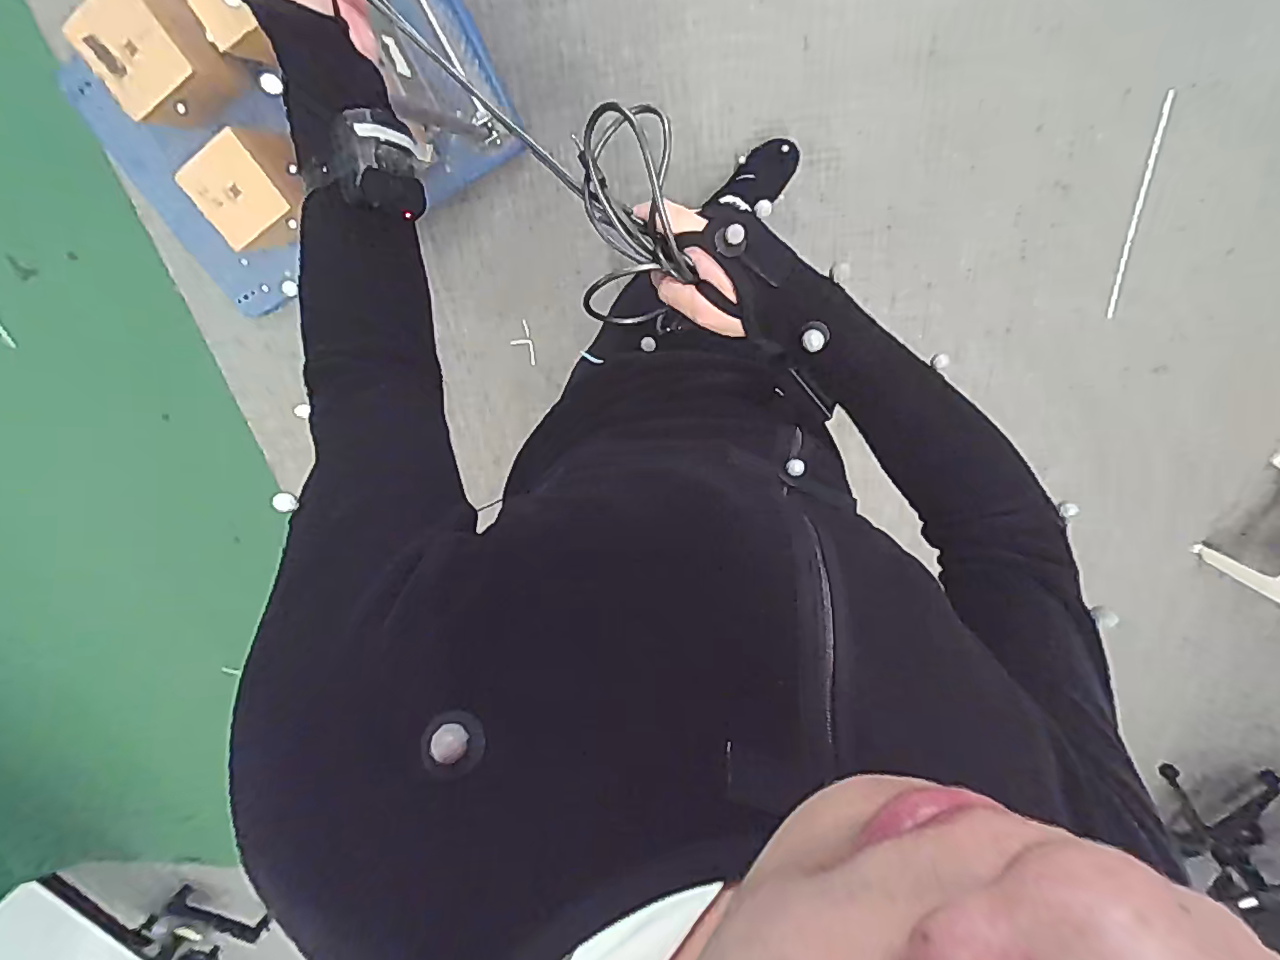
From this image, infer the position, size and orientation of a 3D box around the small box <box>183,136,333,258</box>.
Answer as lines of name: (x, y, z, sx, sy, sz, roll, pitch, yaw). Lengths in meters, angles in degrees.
small box: (-0.808, -0.609, 1.169, 0.179, 0.176, 0.168, -25, 113, 18)

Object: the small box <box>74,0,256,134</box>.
small box: (-0.920, -0.814, 1.066, 0.179, 0.176, 0.168, -23, 115, 16)

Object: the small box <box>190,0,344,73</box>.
small box: (-0.700, -0.896, 1.001, 0.179, 0.176, 0.168, -20, 115, 15)
